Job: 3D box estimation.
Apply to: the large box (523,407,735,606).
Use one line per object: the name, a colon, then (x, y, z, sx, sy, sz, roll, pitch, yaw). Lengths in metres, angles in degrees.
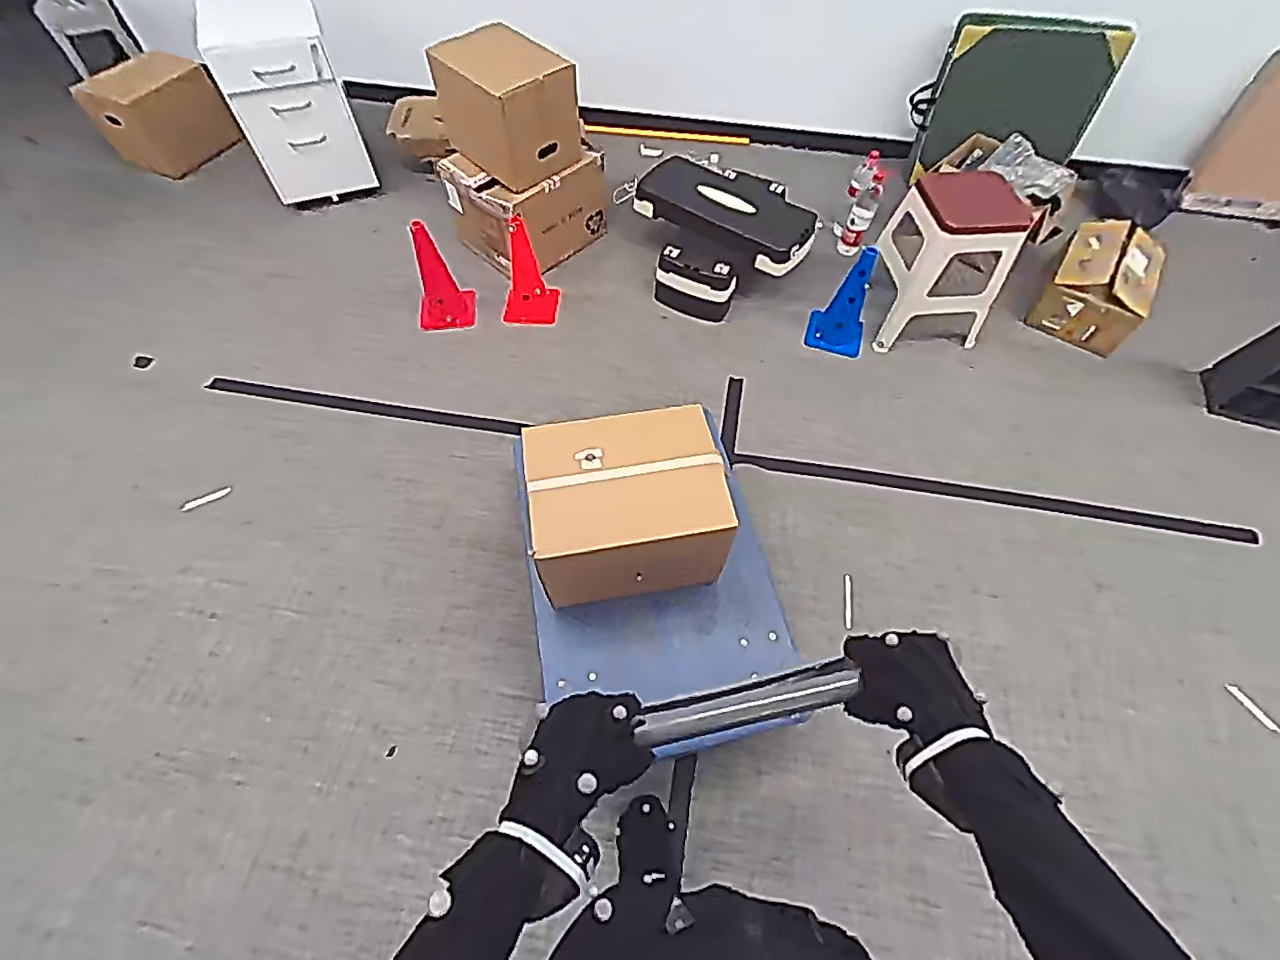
large box: (-0.032, 0.071, 1.250, 0.408, 0.320, 0.320, -9, 60, -5)
